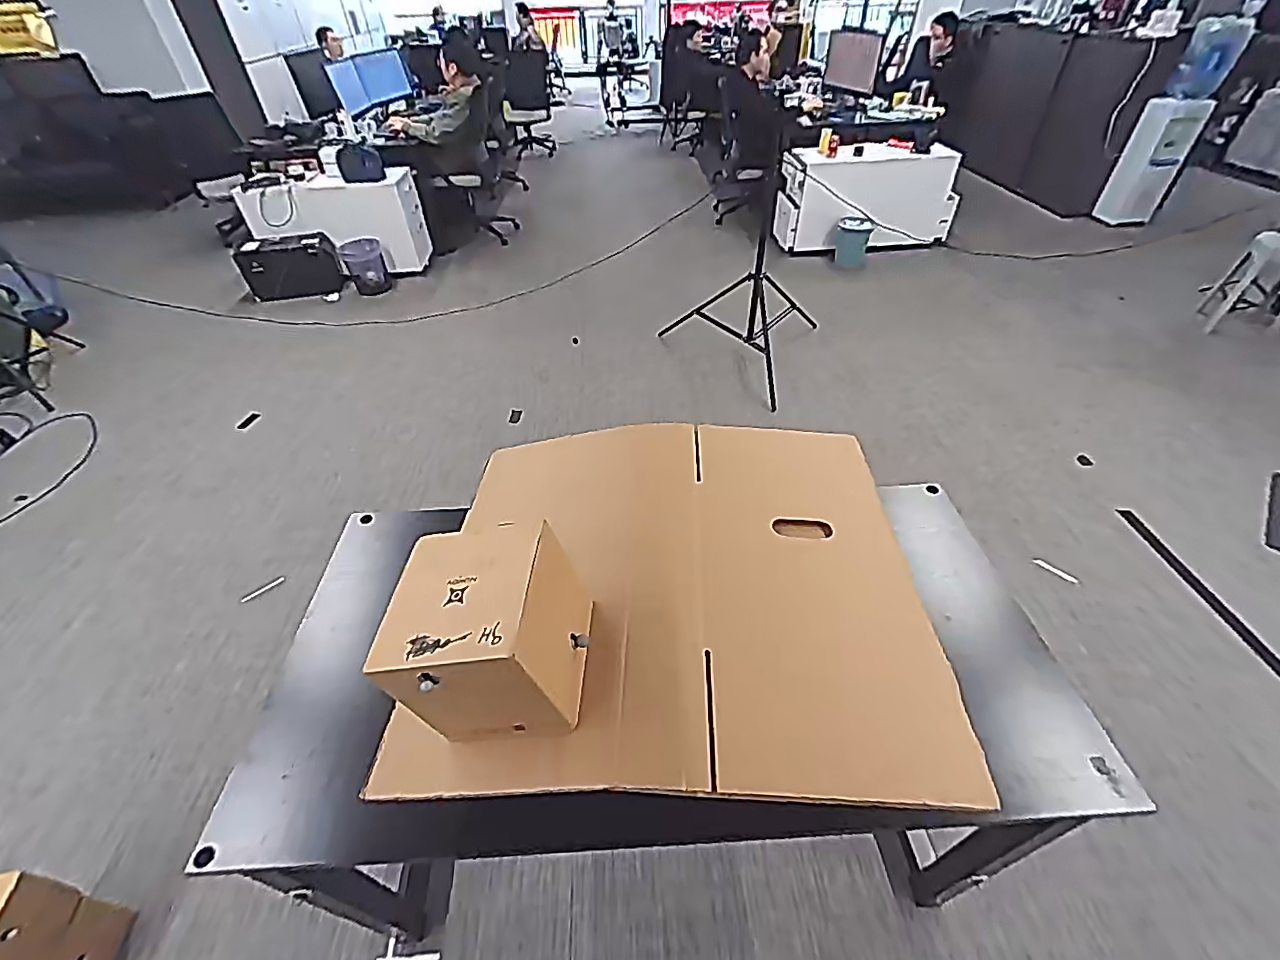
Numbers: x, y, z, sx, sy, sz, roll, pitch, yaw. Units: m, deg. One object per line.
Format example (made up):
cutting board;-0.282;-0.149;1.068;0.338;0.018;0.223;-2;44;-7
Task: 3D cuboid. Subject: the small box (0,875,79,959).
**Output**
small box;-1.209;0.861;0.989;0.168;0.176;0.179;-7;42;-7

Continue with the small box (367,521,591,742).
small box;-0.164;0.176;0.622;0.168;0.176;0.179;-11;41;13

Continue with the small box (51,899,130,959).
small box;-1.203;0.984;1.095;0.168;0.176;0.179;-6;43;-4
